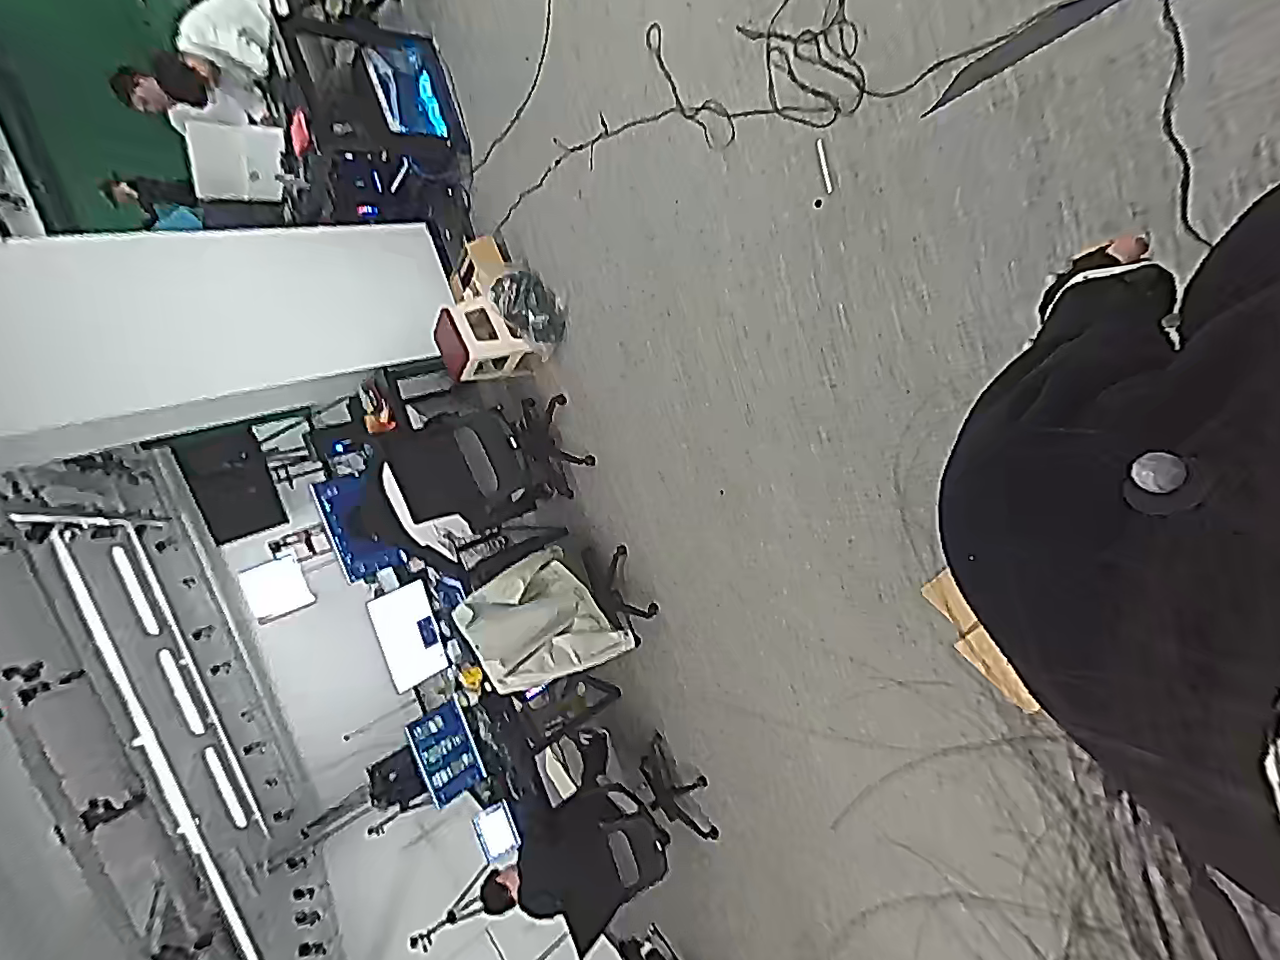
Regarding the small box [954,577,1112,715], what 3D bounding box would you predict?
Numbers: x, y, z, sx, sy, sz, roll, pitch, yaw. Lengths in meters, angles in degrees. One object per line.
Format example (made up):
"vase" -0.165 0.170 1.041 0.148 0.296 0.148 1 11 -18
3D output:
"small box" 0.792 0.328 1.091 0.179 0.176 0.168 48 139 27
